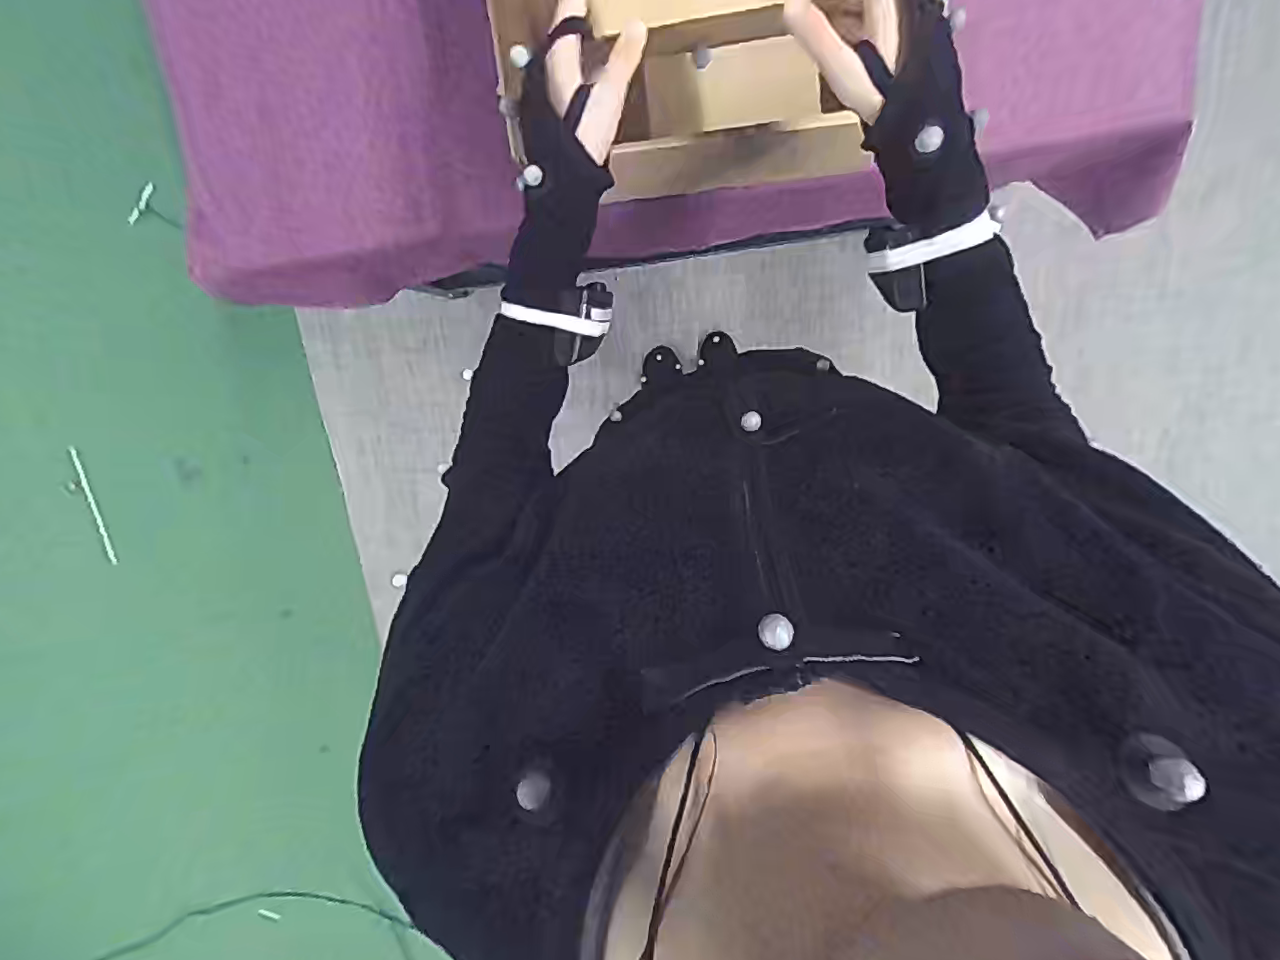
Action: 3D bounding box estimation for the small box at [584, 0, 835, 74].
[{"bbox_3d":[0.040,-0.415,0.383,0.168,0.176,0.179,-5,122,7],"label":"small box"}]
